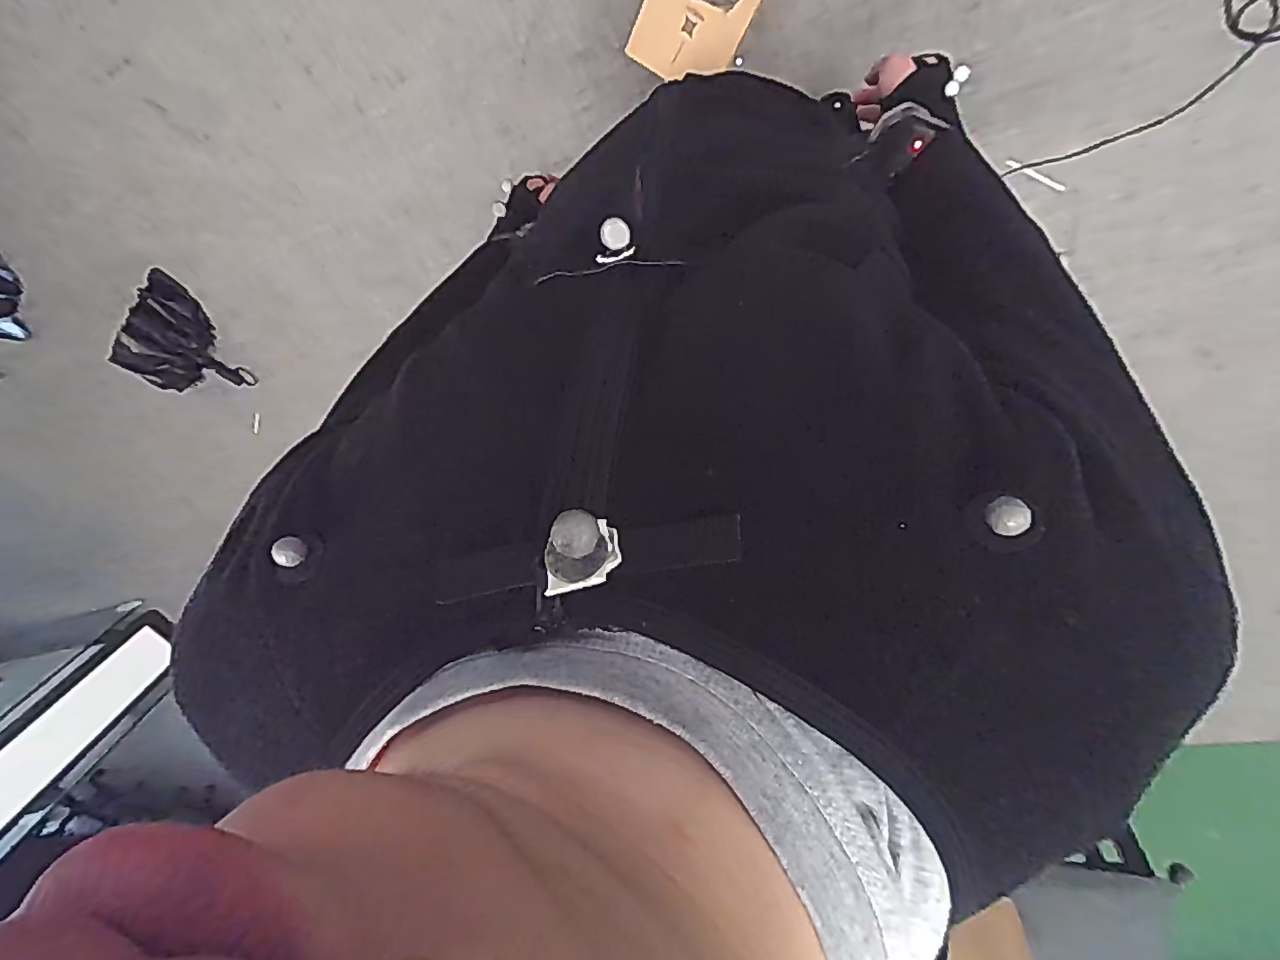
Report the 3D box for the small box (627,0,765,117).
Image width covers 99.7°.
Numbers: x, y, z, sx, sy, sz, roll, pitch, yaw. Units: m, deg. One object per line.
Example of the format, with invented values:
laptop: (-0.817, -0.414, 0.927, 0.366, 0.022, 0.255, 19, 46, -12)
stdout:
small box: (0.098, -0.773, 0.943, 0.168, 0.176, 0.179, 28, 126, -9)
